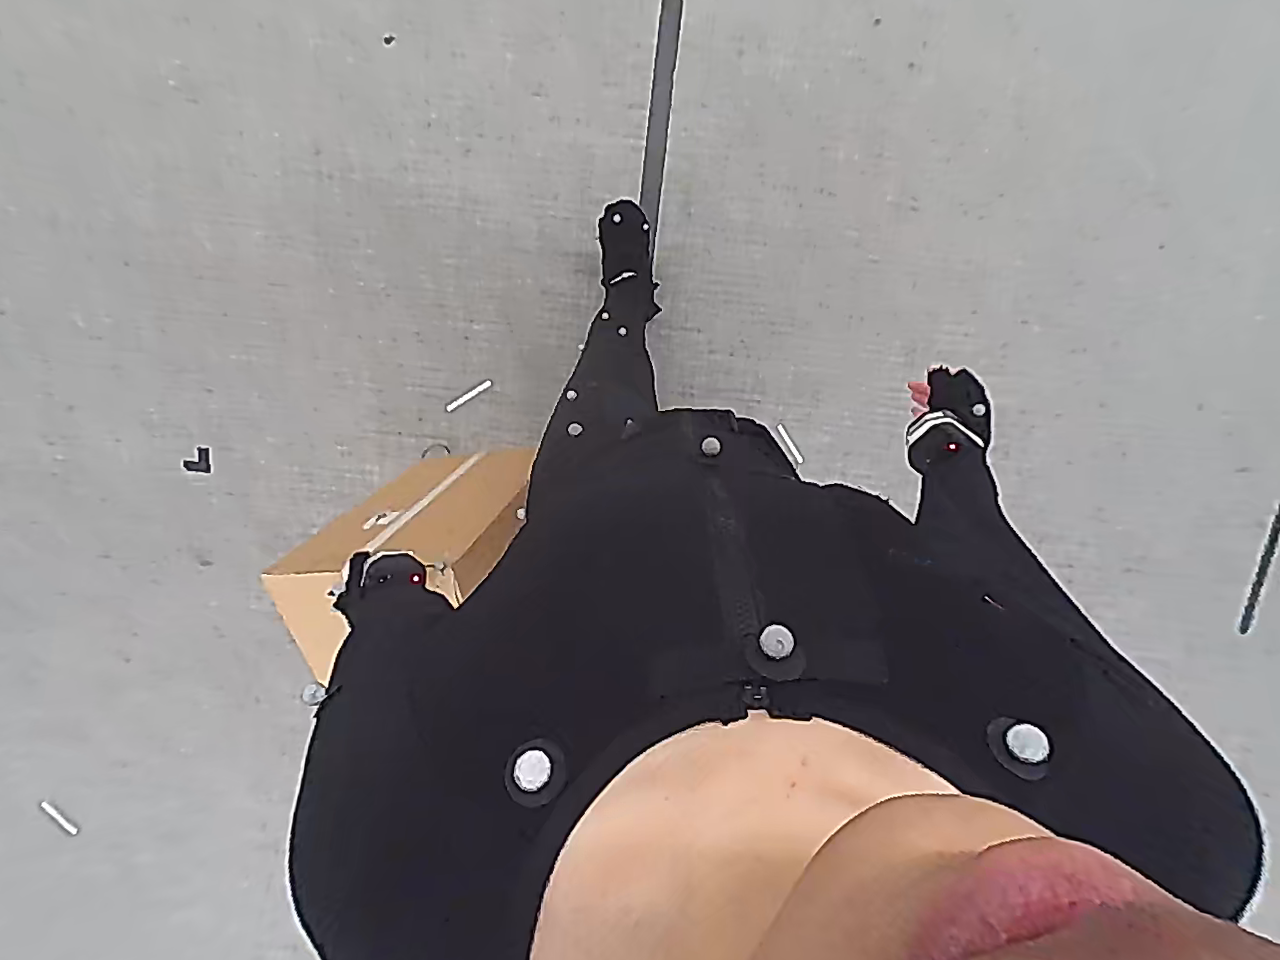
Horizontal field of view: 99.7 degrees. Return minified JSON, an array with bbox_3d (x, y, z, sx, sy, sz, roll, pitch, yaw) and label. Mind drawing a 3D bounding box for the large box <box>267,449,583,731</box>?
[{"bbox_3d":[-0.326,0.170,0.965,0.320,0.408,0.320,-6,114,16],"label":"large box"}]
